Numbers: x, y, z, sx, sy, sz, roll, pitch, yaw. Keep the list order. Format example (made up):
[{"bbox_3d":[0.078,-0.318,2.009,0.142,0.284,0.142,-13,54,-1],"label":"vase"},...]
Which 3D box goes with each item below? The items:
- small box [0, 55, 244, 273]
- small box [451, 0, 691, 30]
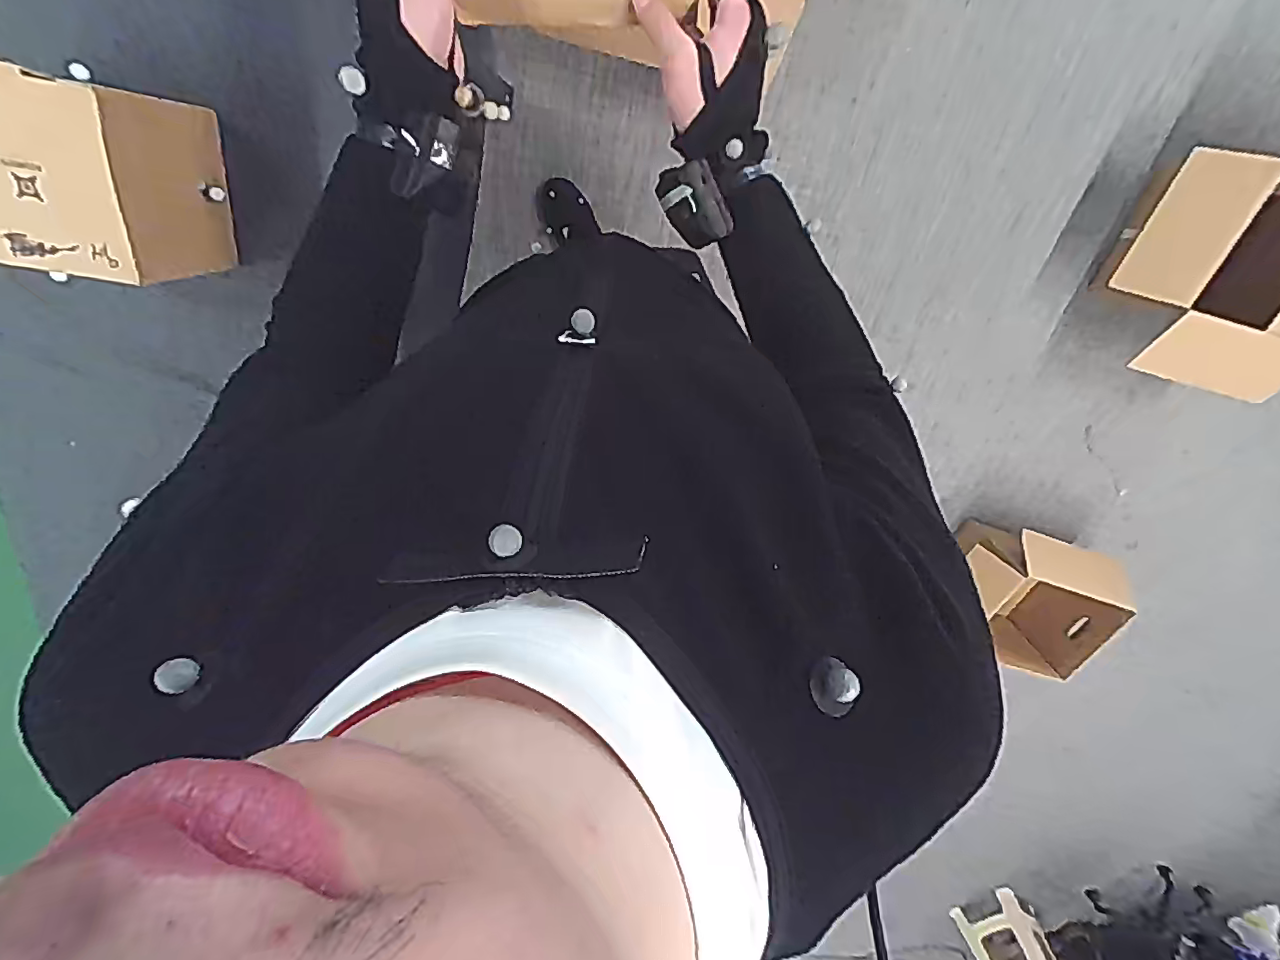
[{"bbox_3d":[-0.583,-0.341,0.596,0.168,0.176,0.179,6,118,-6],"label":"small box"},{"bbox_3d":[-0.046,-0.439,0.349,0.179,0.176,0.168,0,155,-7],"label":"small box"}]
